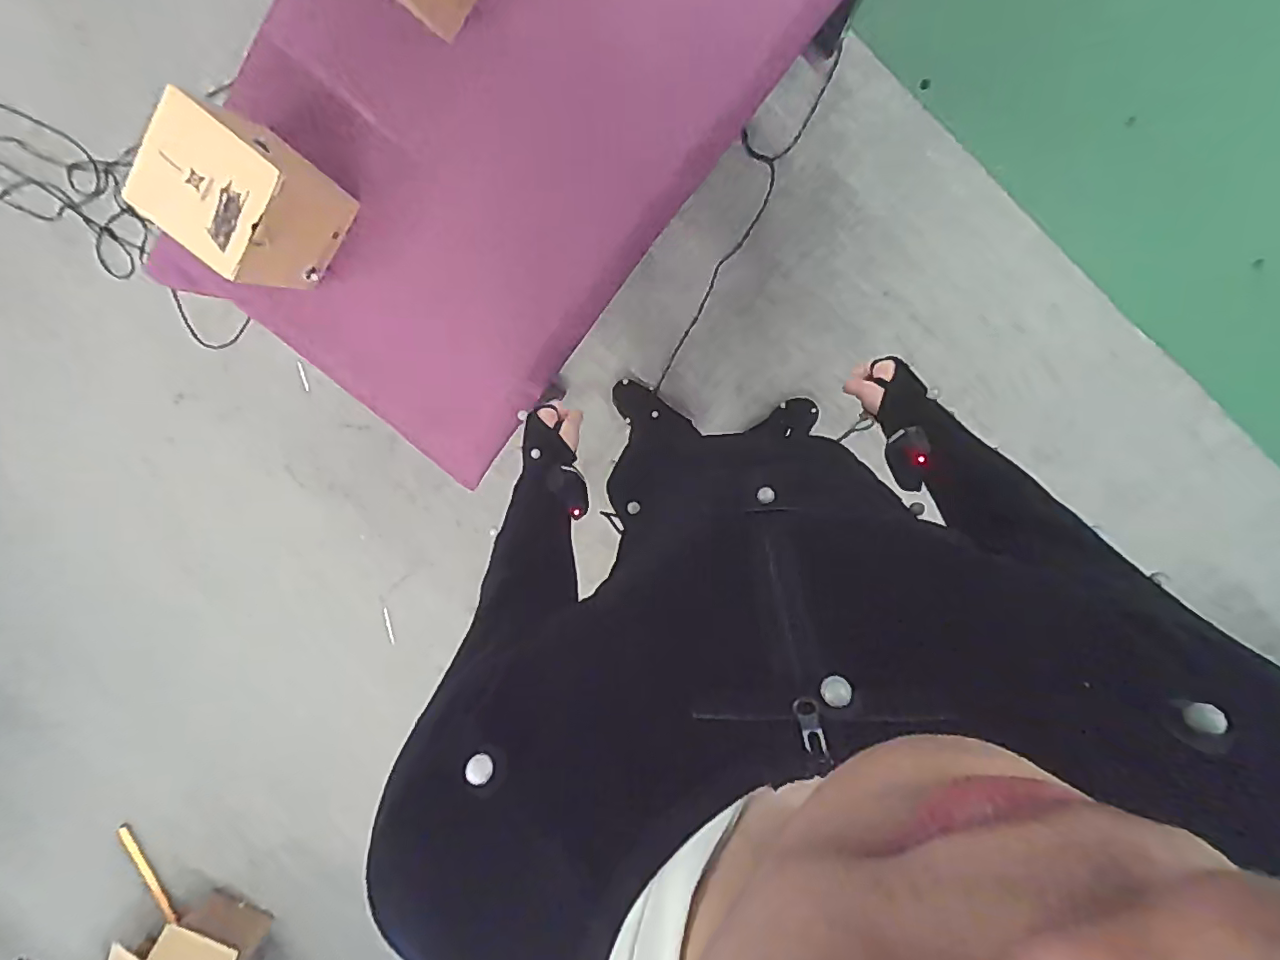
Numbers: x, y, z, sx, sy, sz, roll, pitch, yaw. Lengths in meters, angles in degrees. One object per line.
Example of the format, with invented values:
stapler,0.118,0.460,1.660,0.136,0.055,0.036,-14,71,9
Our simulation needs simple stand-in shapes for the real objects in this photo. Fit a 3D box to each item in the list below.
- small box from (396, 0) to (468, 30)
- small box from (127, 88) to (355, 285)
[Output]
small box,-0.296,-0.714,0.667,0.179,0.176,0.168,40,105,-4
small box,-0.558,-0.402,0.781,0.179,0.176,0.168,38,106,-4
